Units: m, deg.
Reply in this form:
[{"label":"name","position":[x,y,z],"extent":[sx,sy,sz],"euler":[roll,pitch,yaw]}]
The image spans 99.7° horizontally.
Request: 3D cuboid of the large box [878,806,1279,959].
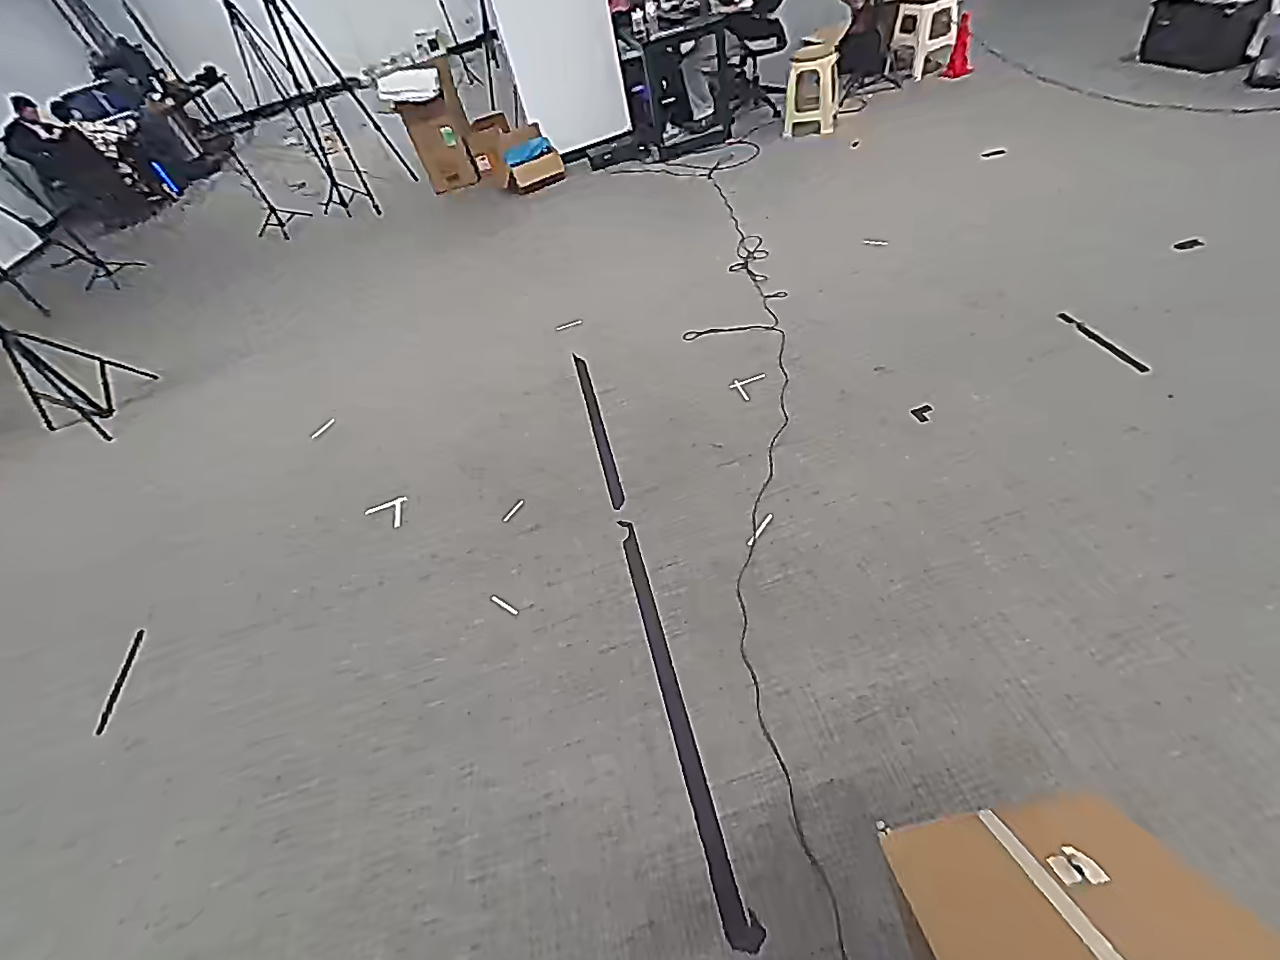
[{"label":"large box","position":[0.520,0.648,0.590],"extent":[0.320,0.408,0.320],"euler":[-14,87,6]}]
